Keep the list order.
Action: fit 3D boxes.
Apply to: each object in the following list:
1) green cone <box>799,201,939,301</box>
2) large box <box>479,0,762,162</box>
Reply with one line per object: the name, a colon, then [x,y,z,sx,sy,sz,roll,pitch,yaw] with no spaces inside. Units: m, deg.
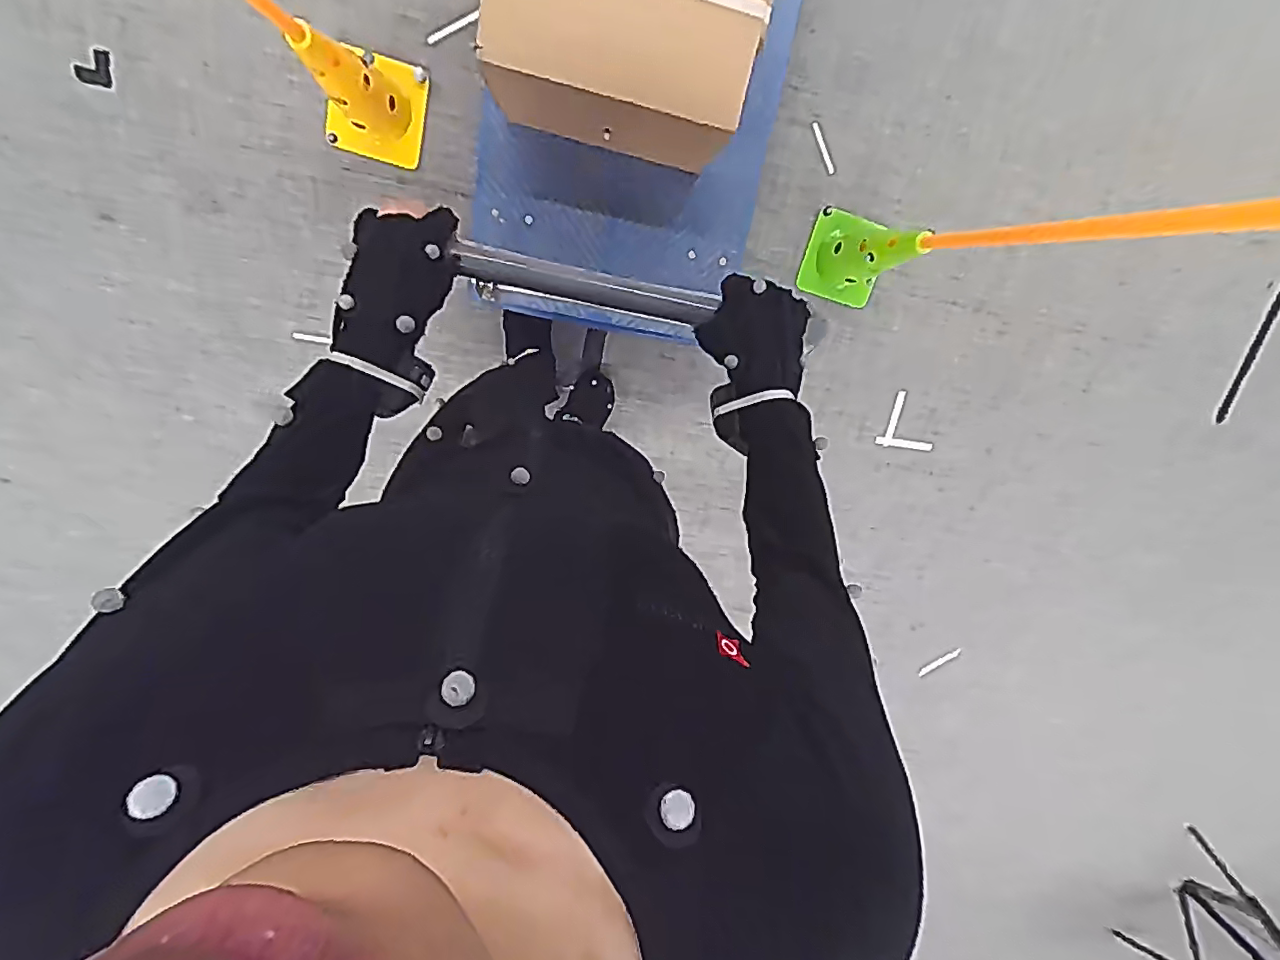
green cone: [0.533,-0.519,1.203,0.202,0.368,0.200,13,107,-10]
large box: [-0.022,-0.781,0.917,0.408,0.320,0.320,11,108,-7]
